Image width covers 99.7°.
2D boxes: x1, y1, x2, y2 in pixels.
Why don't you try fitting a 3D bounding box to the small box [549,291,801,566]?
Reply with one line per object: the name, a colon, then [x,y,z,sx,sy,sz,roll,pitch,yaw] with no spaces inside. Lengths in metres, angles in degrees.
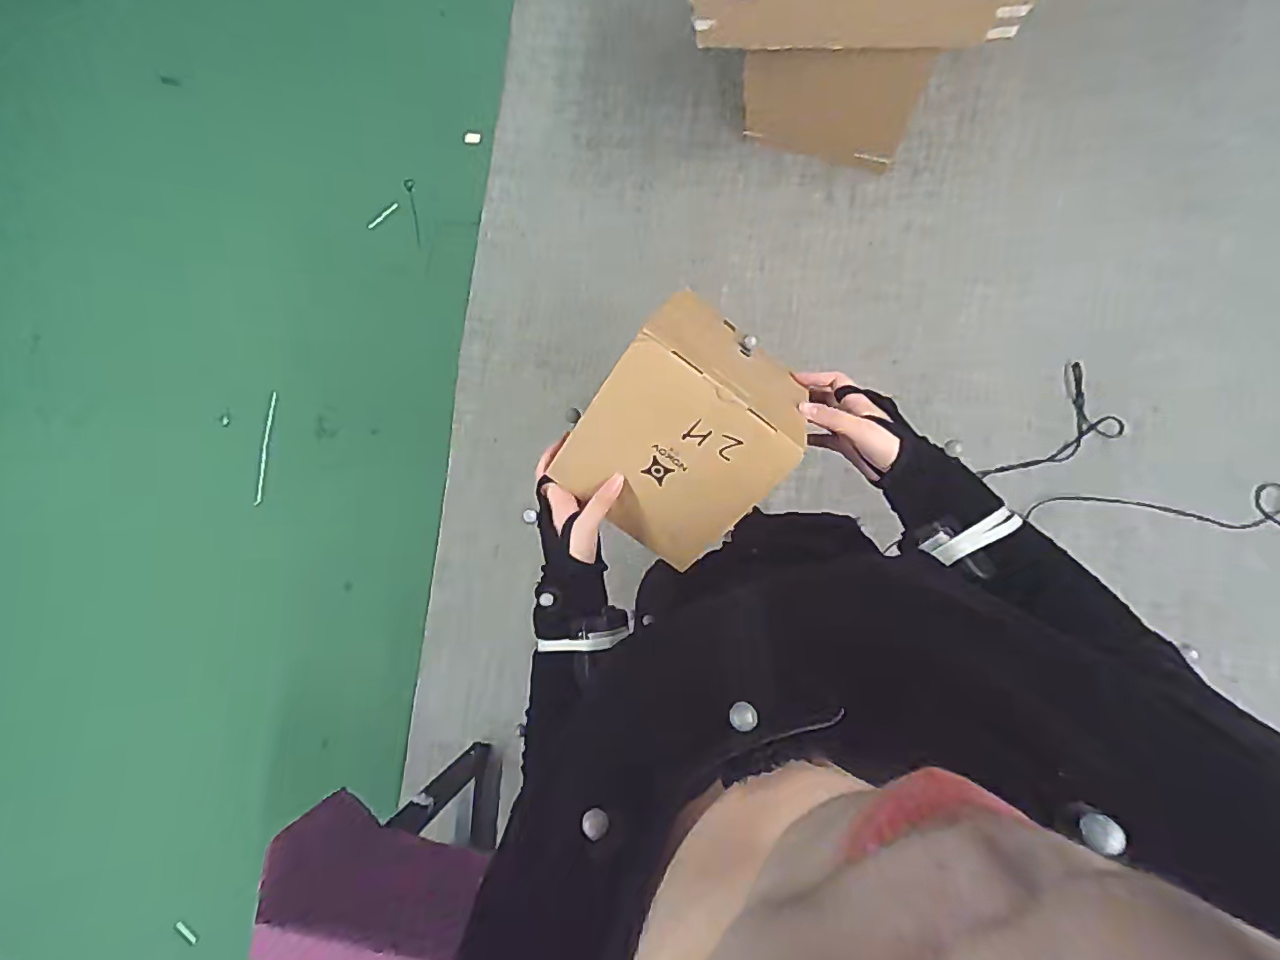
small box: [0.044,-0.056,0.537,0.168,0.176,0.179,37,124,-6]
